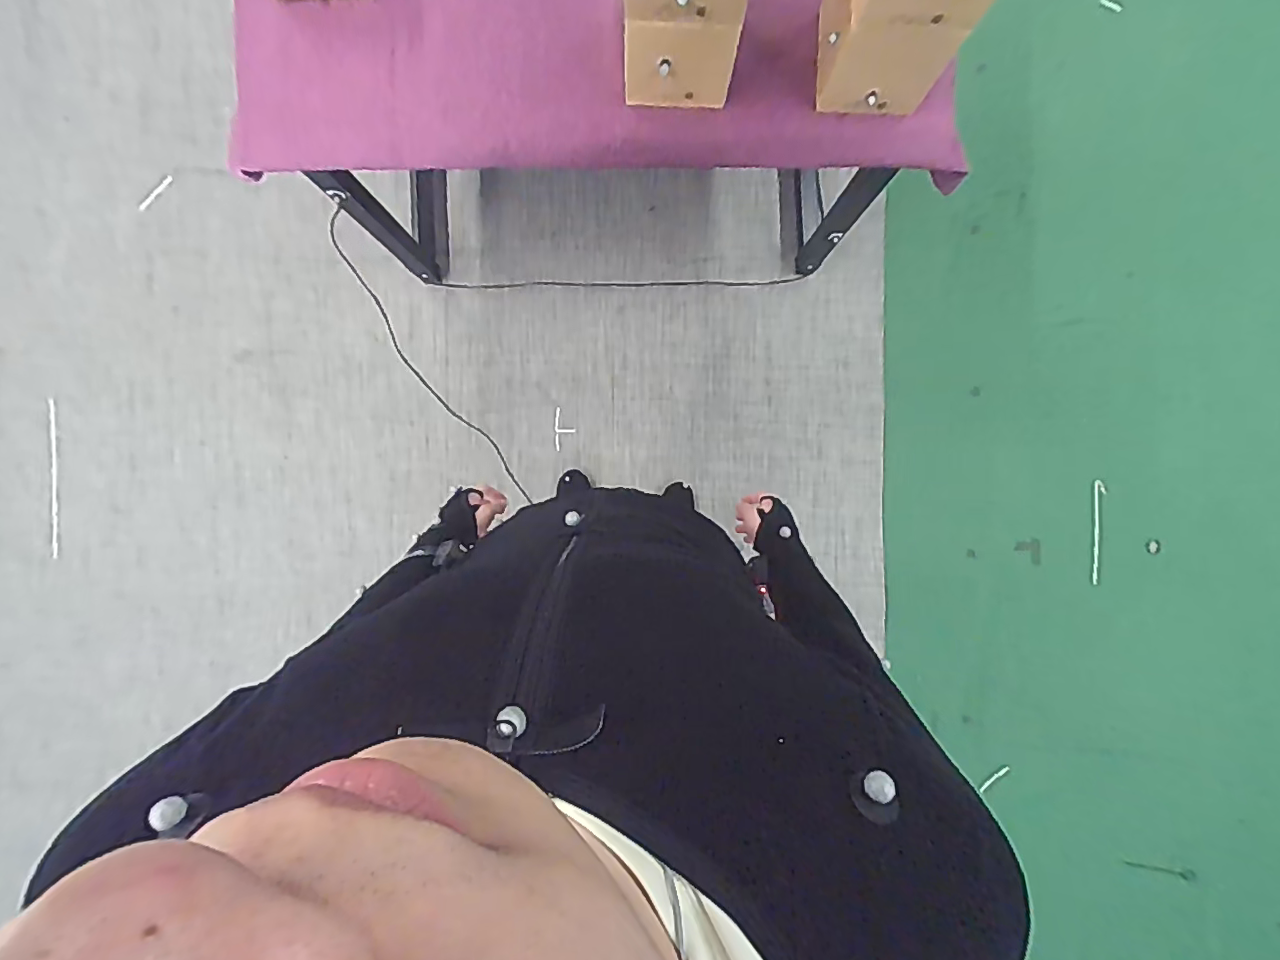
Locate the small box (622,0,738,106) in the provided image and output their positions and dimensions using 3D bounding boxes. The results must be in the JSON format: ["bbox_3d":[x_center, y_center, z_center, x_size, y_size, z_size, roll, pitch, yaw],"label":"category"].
[{"bbox_3d":[0.060,-0.715,0.832,0.168,0.176,0.179,2,89,0],"label":"small box"}]

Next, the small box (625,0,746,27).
[{"bbox_3d":[0.063,-0.719,0.668,0.168,0.176,0.179,2,90,0],"label":"small box"}]

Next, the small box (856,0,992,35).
[{"bbox_3d":[0.380,-0.707,0.666,0.168,0.176,0.179,3,89,1],"label":"small box"}]
